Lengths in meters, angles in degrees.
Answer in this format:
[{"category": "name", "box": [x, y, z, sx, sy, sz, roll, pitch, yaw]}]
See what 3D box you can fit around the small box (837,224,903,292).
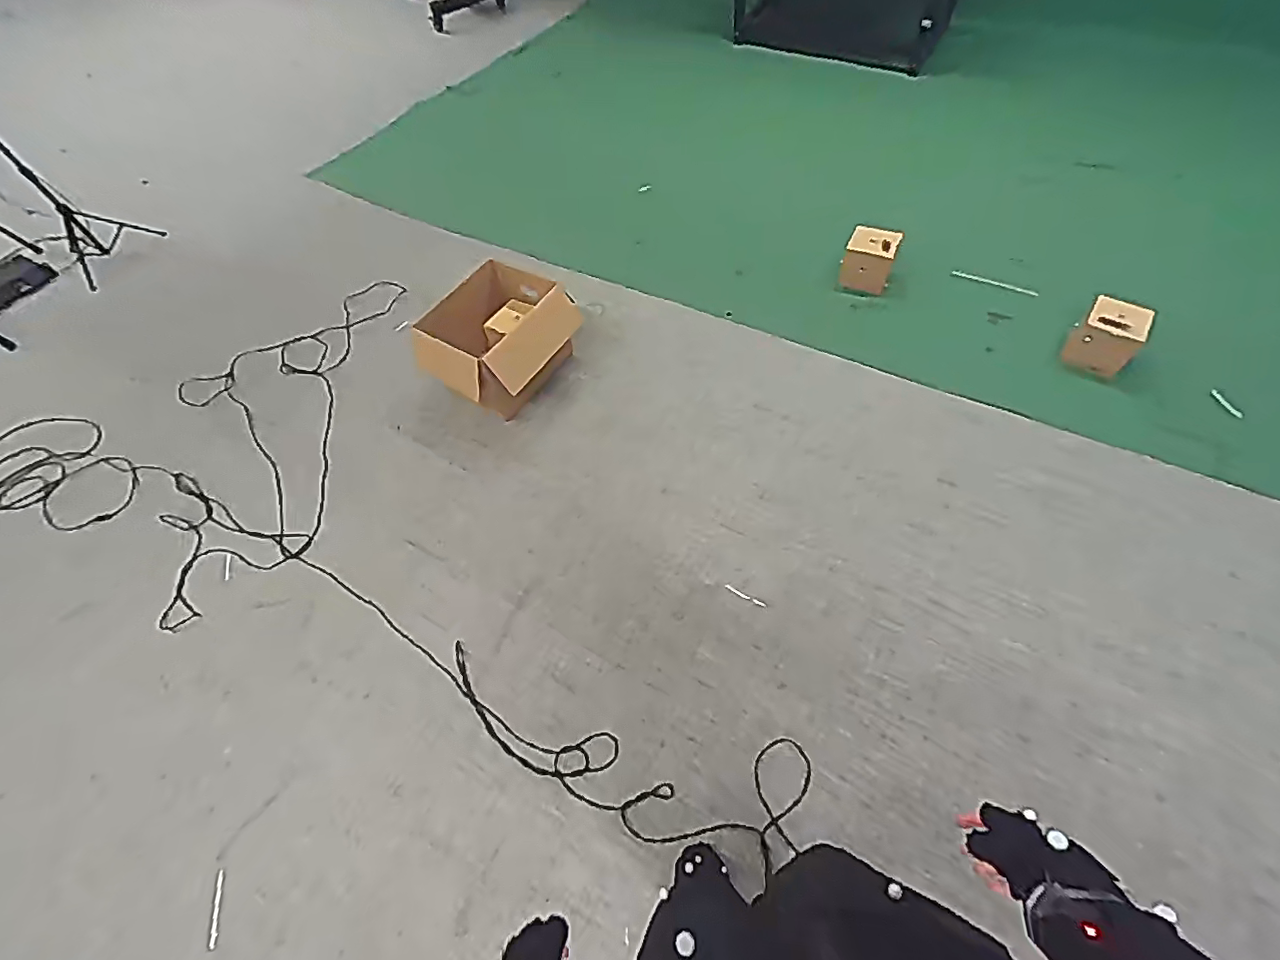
[{"category": "small box", "box": [0.896, -0.865, 2.117, 0.179, 0.176, 0.168, 22, 61, 19]}]
